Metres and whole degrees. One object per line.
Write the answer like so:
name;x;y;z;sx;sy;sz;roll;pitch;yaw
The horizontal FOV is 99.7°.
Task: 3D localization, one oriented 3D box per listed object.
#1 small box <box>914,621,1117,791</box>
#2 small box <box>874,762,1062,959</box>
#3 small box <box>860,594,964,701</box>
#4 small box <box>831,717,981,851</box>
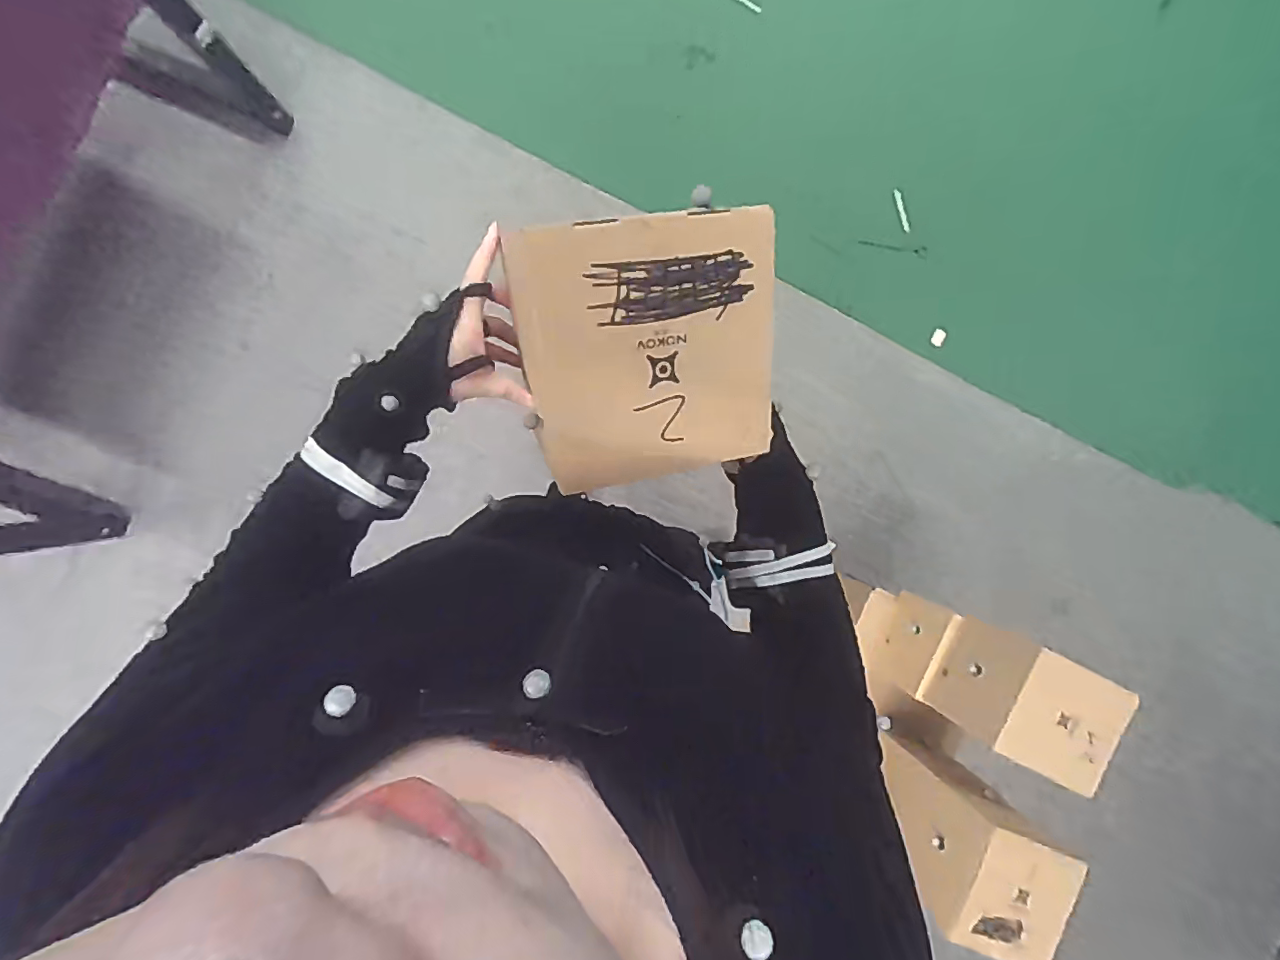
small box;0.589;0.348;0.873;0.179;0.176;0.168;29;90;-6
small box;0.514;0.604;0.876;0.168;0.176;0.179;26;87;-7
small box;0.560;0.335;1.035;0.179;0.176;0.168;27;90;-6
small box;0.497;0.597;1.039;0.168;0.176;0.179;25;88;-7
